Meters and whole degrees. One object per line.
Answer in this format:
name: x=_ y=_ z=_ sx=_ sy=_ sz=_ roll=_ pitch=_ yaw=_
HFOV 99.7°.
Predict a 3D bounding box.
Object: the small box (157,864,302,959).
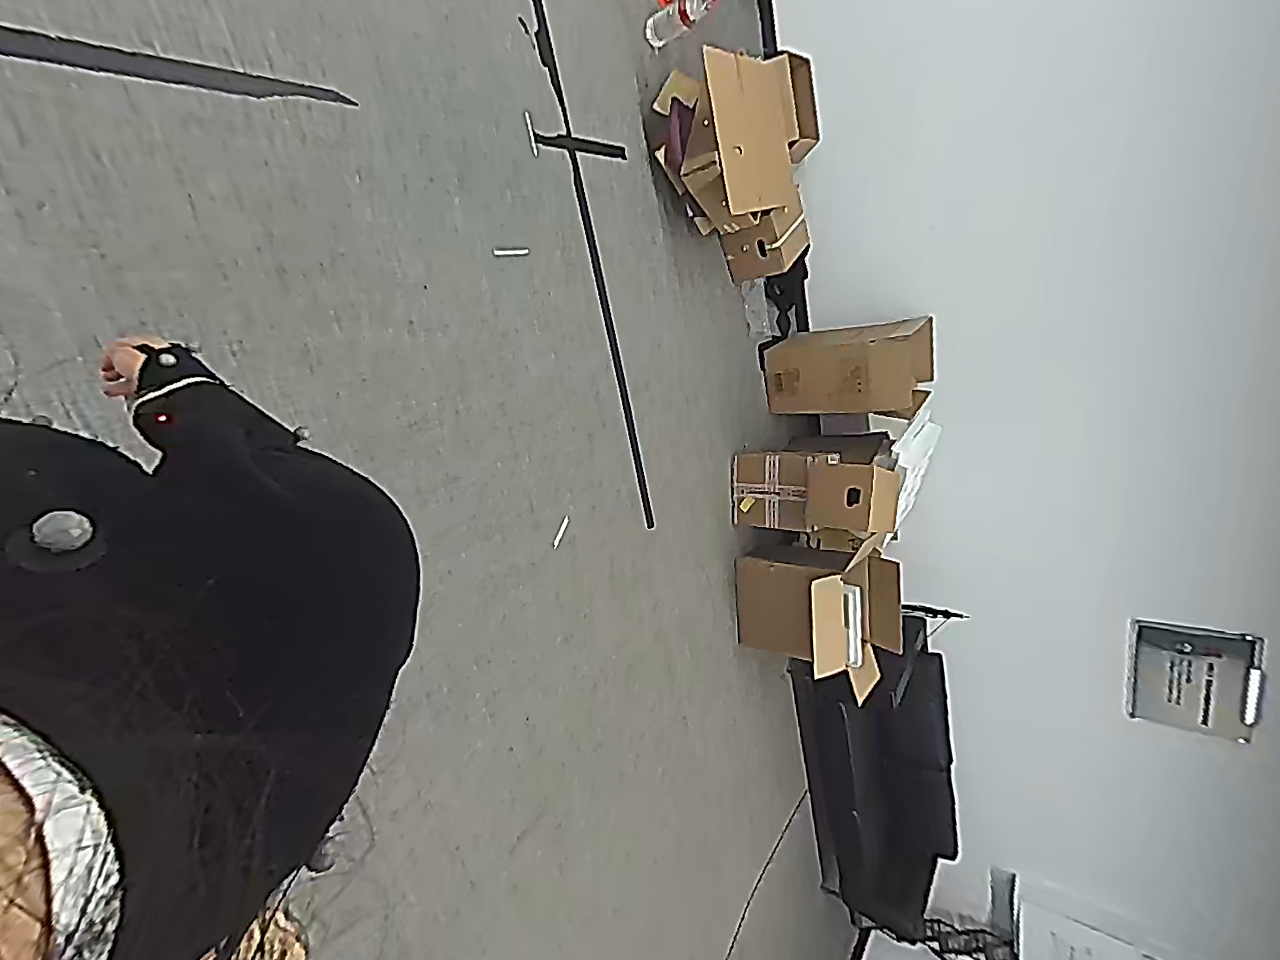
small box: x=-0.823 y=0.932 z=1.080 sx=0.179 sy=0.176 sz=0.168 roll=-29 pitch=114 yaw=-47
